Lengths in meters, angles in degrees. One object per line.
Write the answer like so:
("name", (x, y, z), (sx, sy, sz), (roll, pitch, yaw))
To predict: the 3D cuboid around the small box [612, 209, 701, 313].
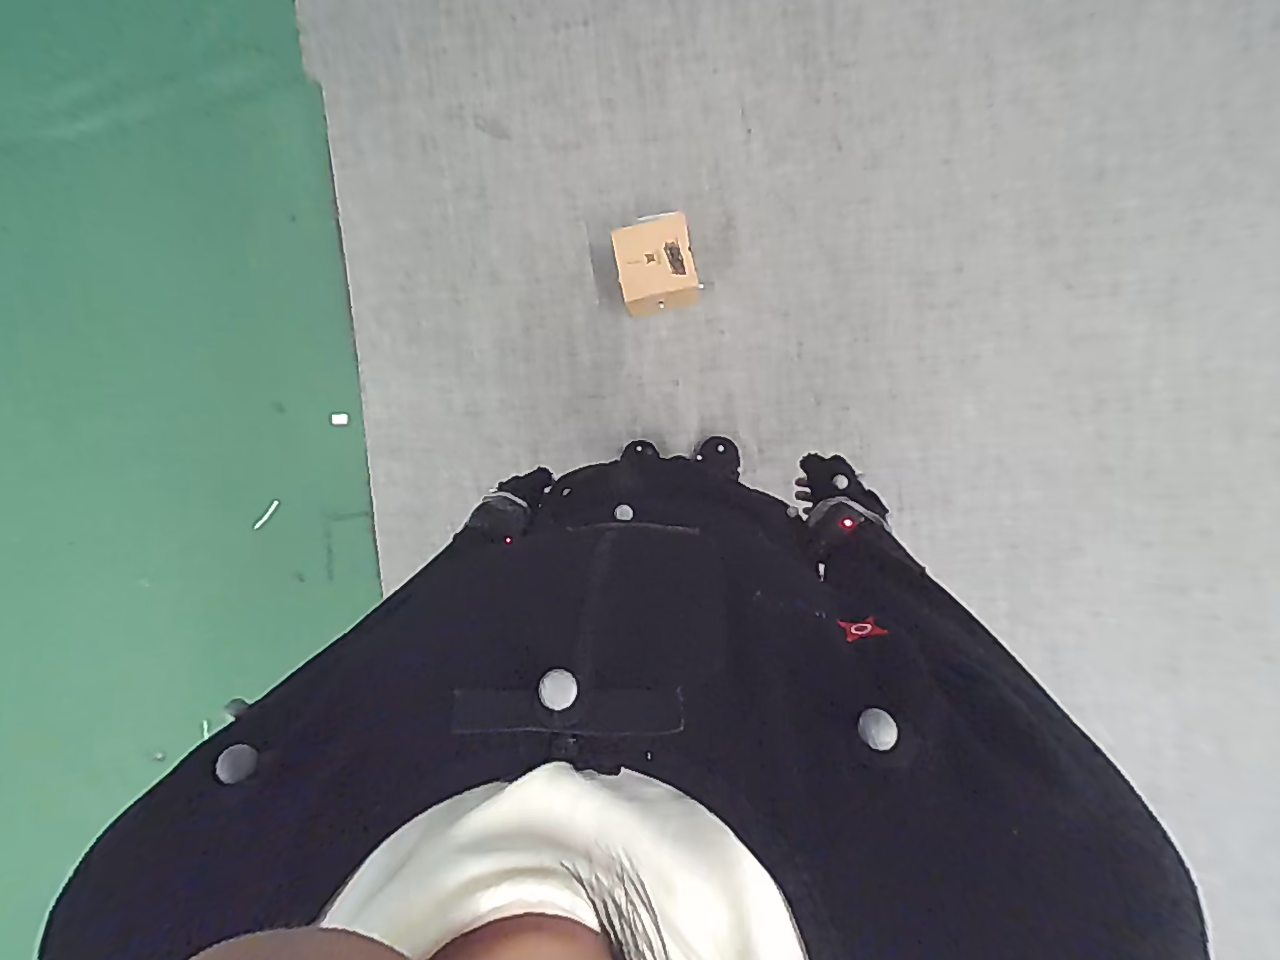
("small box", (0.046, -0.522, 1.311), (0.179, 0.176, 0.168), (-14, 93, 8))
